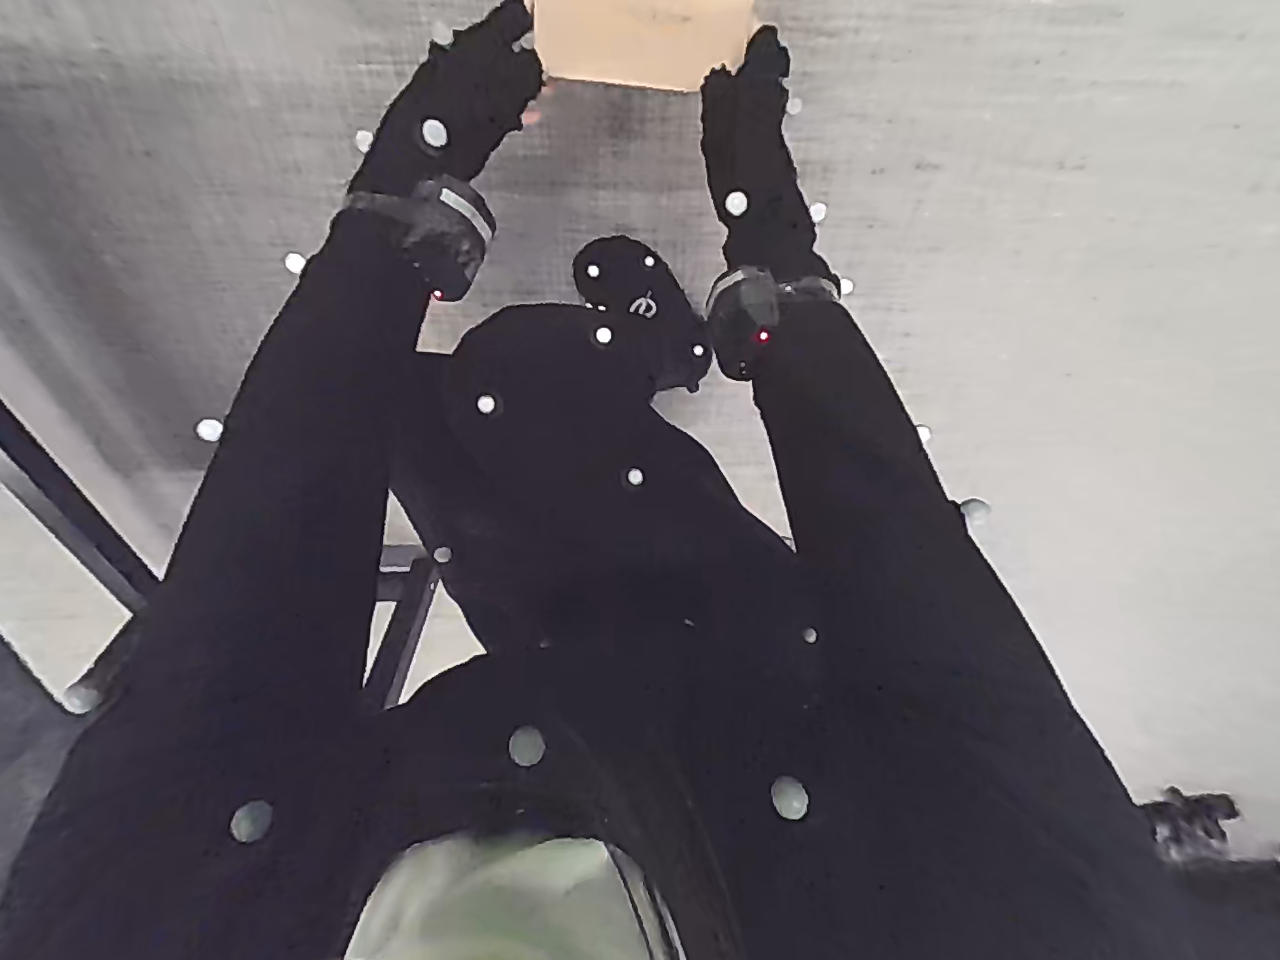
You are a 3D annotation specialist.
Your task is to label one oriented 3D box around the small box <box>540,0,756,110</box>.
[{"bbox_3d":[0.001,-0.429,0.453,0.168,0.176,0.179,1,129,-7],"label":"small box"}]
